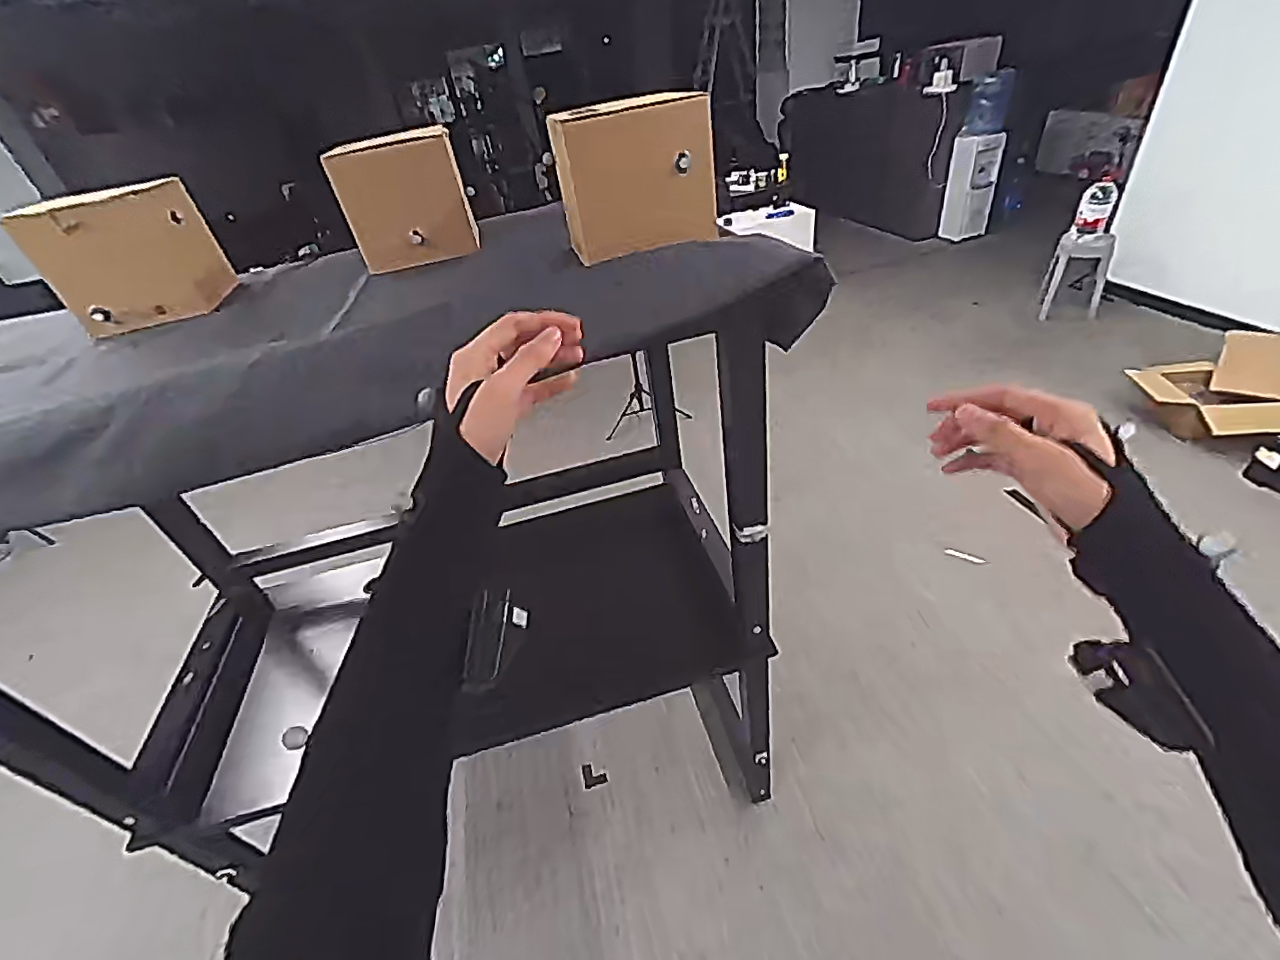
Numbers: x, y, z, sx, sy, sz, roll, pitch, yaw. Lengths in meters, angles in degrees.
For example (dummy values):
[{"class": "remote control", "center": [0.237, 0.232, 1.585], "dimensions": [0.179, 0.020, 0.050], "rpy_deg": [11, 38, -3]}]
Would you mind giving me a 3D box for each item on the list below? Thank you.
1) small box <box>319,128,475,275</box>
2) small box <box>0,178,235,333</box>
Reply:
[{"class": "small box", "center": [-0.372, -0.449, 0.870], "dimensions": [0.179, 0.176, 0.168], "rpy_deg": [-15, 38, -7]}, {"class": "small box", "center": [-0.760, -0.336, 0.816], "dimensions": [0.168, 0.176, 0.179], "rpy_deg": [-17, 38, -9]}]
